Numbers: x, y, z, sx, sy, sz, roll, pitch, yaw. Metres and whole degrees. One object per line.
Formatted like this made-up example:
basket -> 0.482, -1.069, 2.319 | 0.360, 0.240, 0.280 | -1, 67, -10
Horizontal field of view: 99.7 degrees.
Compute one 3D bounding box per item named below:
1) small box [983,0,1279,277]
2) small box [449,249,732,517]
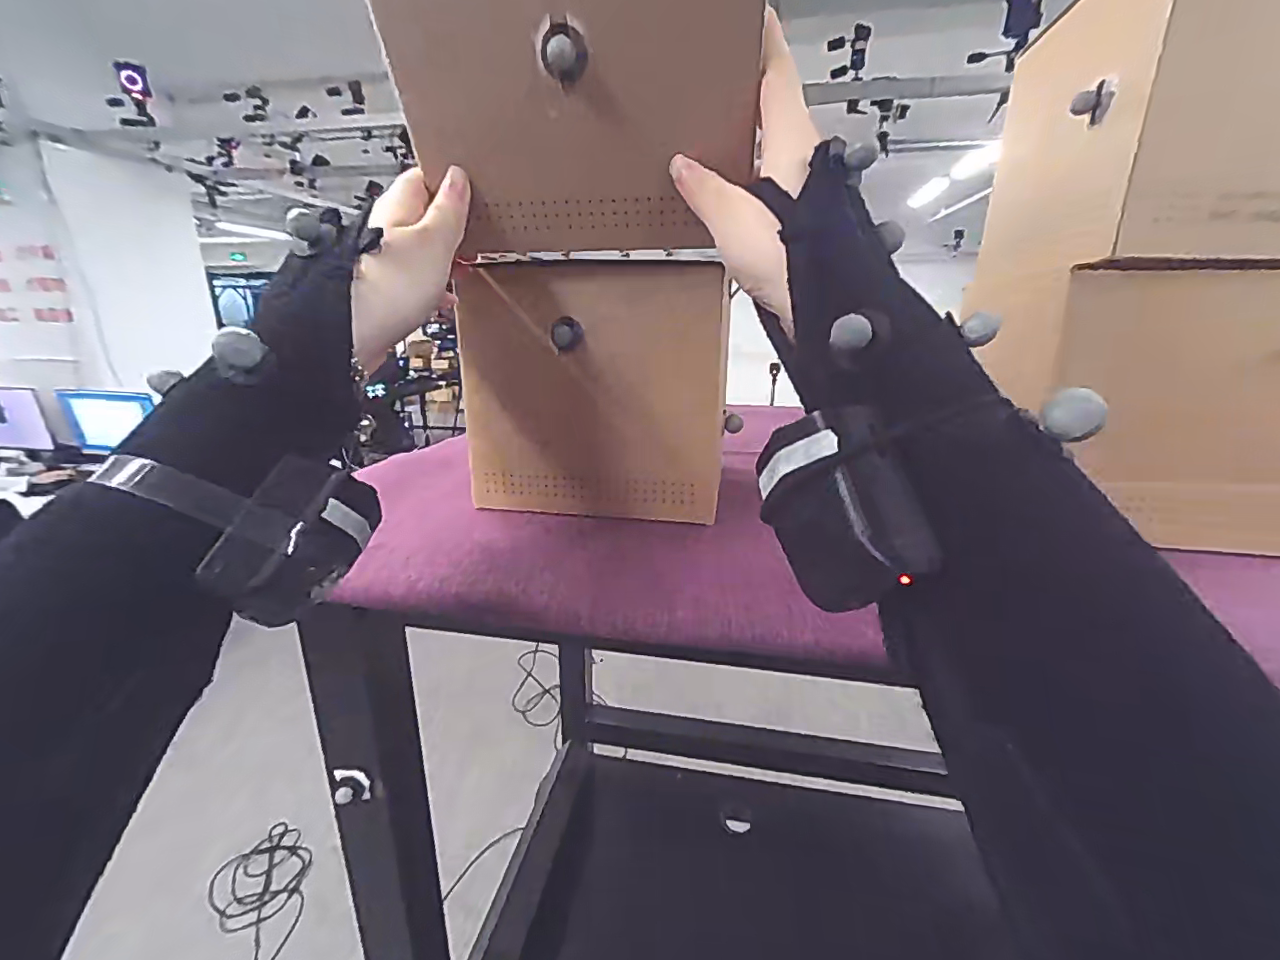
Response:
small box -> 0.346, -0.216, 0.330 | 0.168, 0.176, 0.179 | 4, 15, 7
small box -> -0.021, -0.077, 0.420 | 0.179, 0.176, 0.168 | 3, 19, 10
